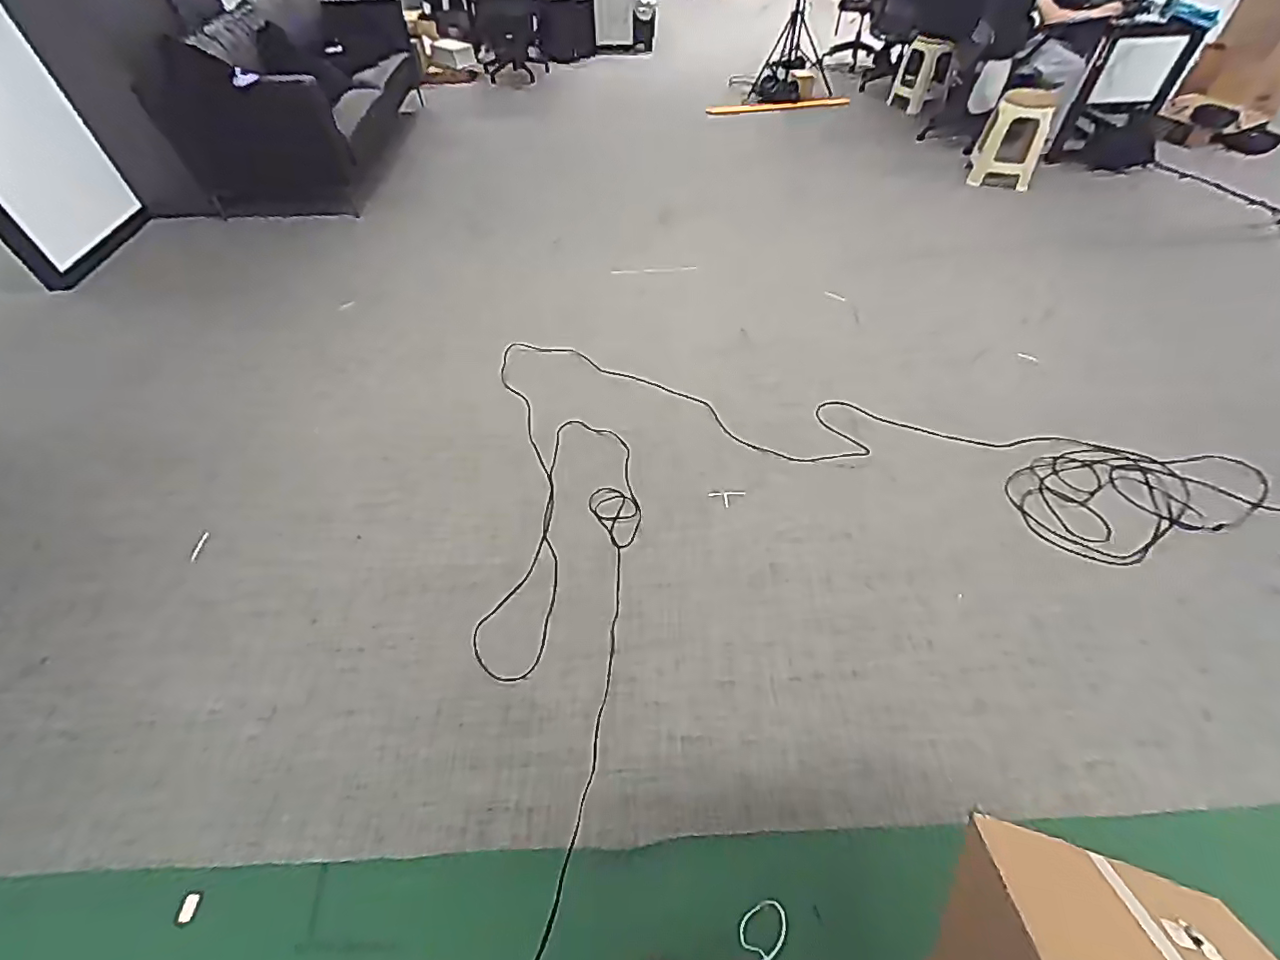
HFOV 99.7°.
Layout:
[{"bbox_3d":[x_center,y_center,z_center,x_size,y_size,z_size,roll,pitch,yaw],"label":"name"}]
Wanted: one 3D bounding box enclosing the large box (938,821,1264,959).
[{"bbox_3d":[0.560,0.701,0.607,0.320,0.408,0.320,14,93,18],"label":"large box"}]
